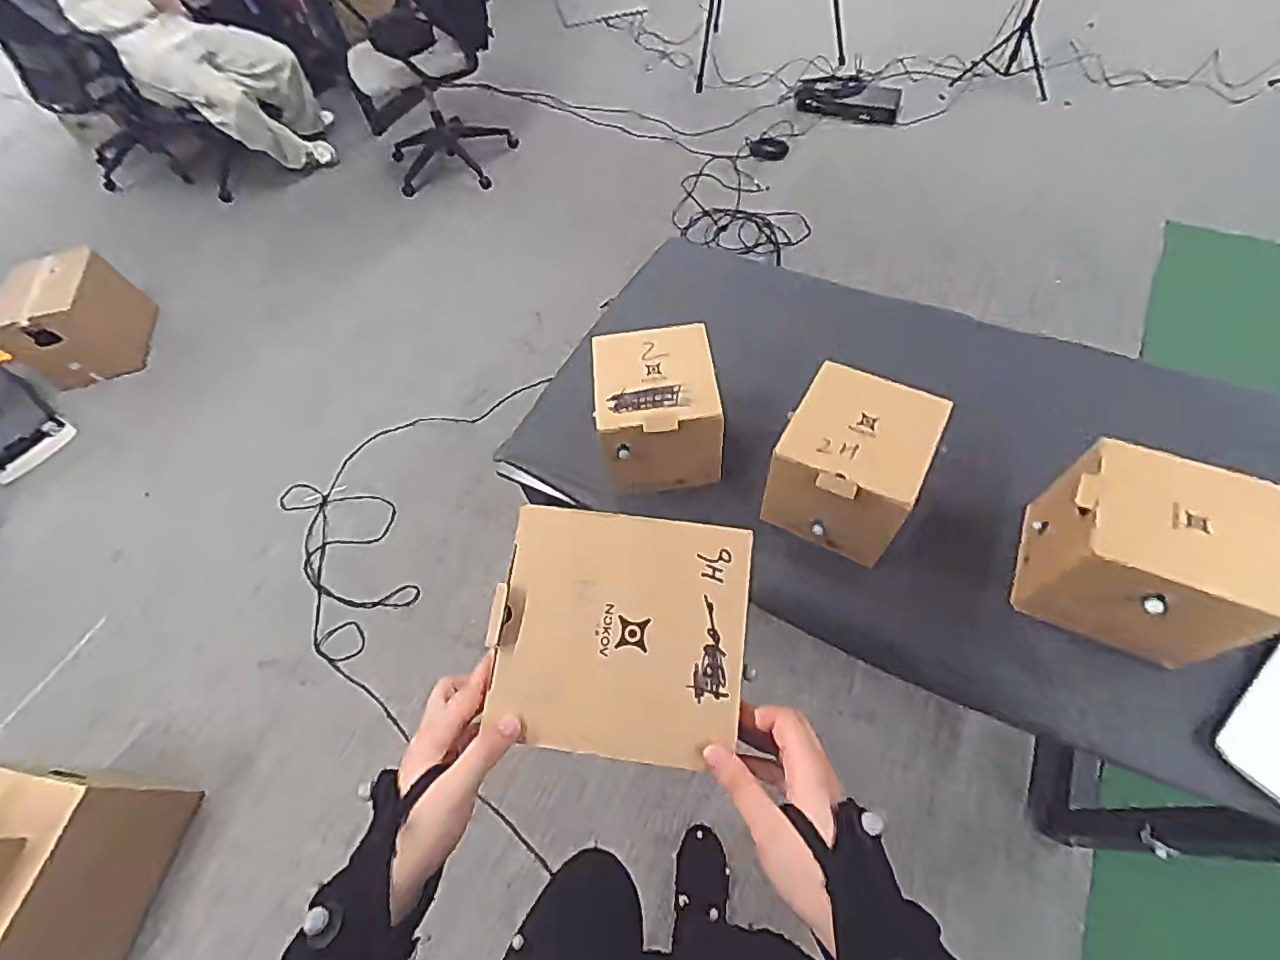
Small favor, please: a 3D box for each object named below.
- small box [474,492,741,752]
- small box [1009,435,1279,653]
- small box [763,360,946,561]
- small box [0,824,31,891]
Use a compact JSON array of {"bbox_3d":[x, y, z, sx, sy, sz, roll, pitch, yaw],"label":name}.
[{"bbox_3d":[-0.015,0.117,0.466,0.179,0.176,0.168,6,75,5],"label":"small box"},{"bbox_3d":[0.573,0.081,0.628,0.179,0.176,0.168,21,61,19],"label":"small box"},{"bbox_3d":[0.276,-0.024,0.729,0.168,0.176,0.179,24,63,21],"label":"small box"},{"bbox_3d":[-1.274,0.715,0.956,0.168,0.176,0.179,6,59,9],"label":"small box"}]
